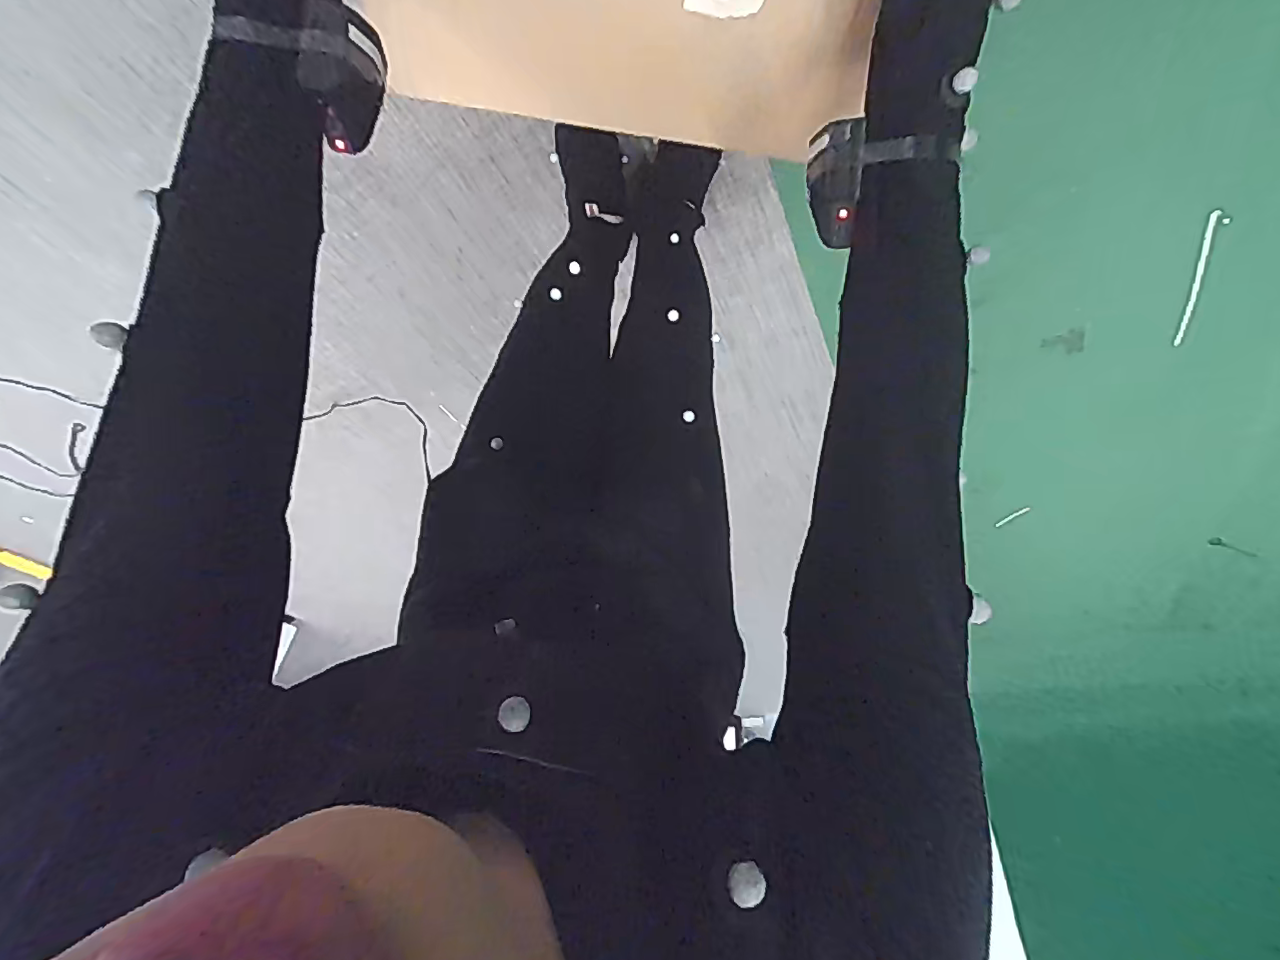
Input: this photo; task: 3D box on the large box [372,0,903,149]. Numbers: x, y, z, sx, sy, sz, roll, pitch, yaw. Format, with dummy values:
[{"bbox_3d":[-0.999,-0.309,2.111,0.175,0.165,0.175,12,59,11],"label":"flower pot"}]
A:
[{"bbox_3d":[0.010,-0.520,0.438,0.408,0.320,0.320,7,142,-4],"label":"large box"}]
